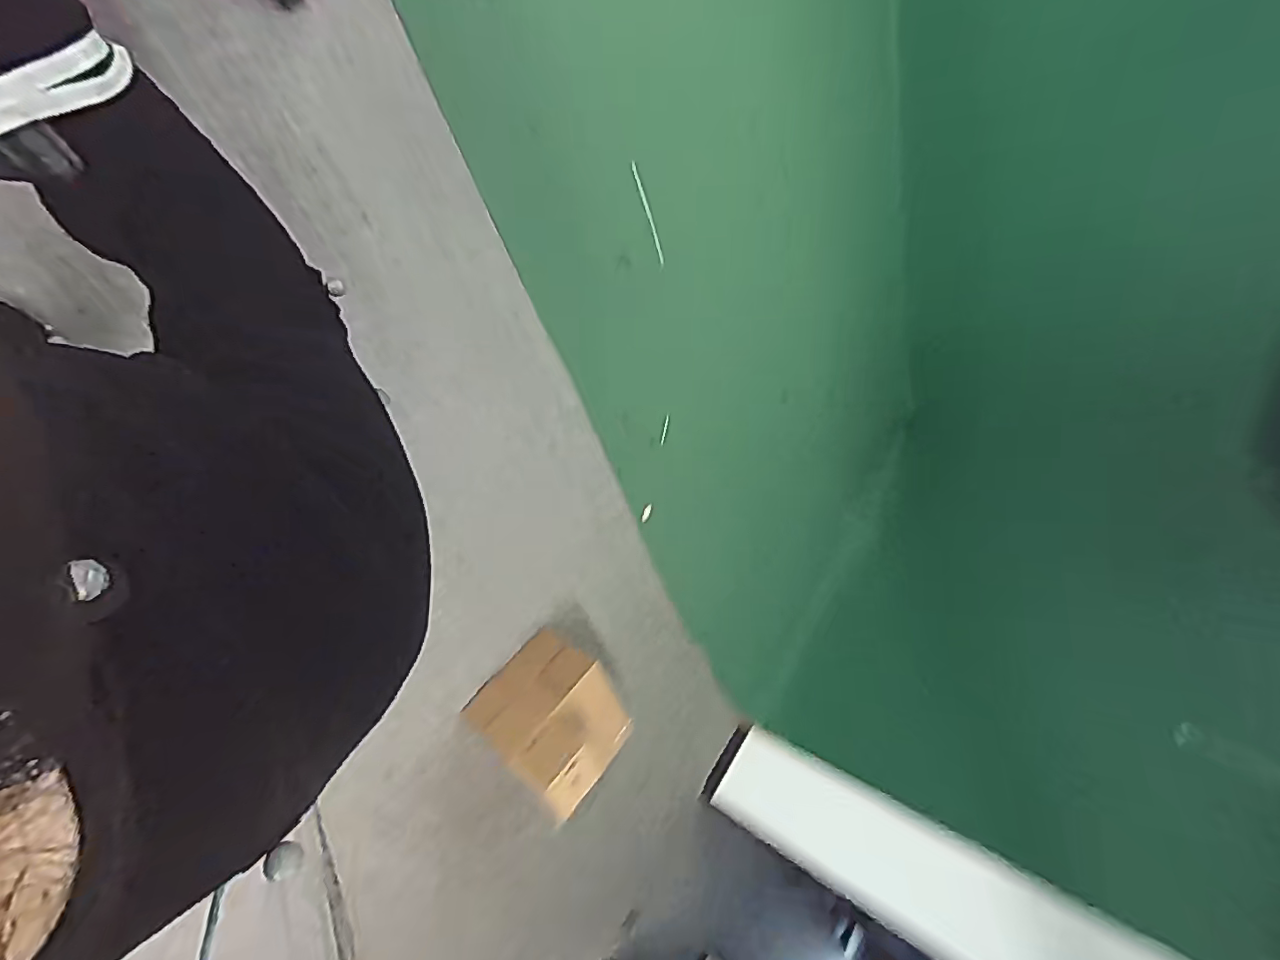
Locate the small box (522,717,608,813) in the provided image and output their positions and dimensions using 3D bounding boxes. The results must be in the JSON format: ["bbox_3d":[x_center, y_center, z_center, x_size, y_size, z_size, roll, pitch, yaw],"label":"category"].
[{"bbox_3d":[-0.232,0.873,1.674,0.168,0.176,0.179,-42,130,-32],"label":"small box"}]
